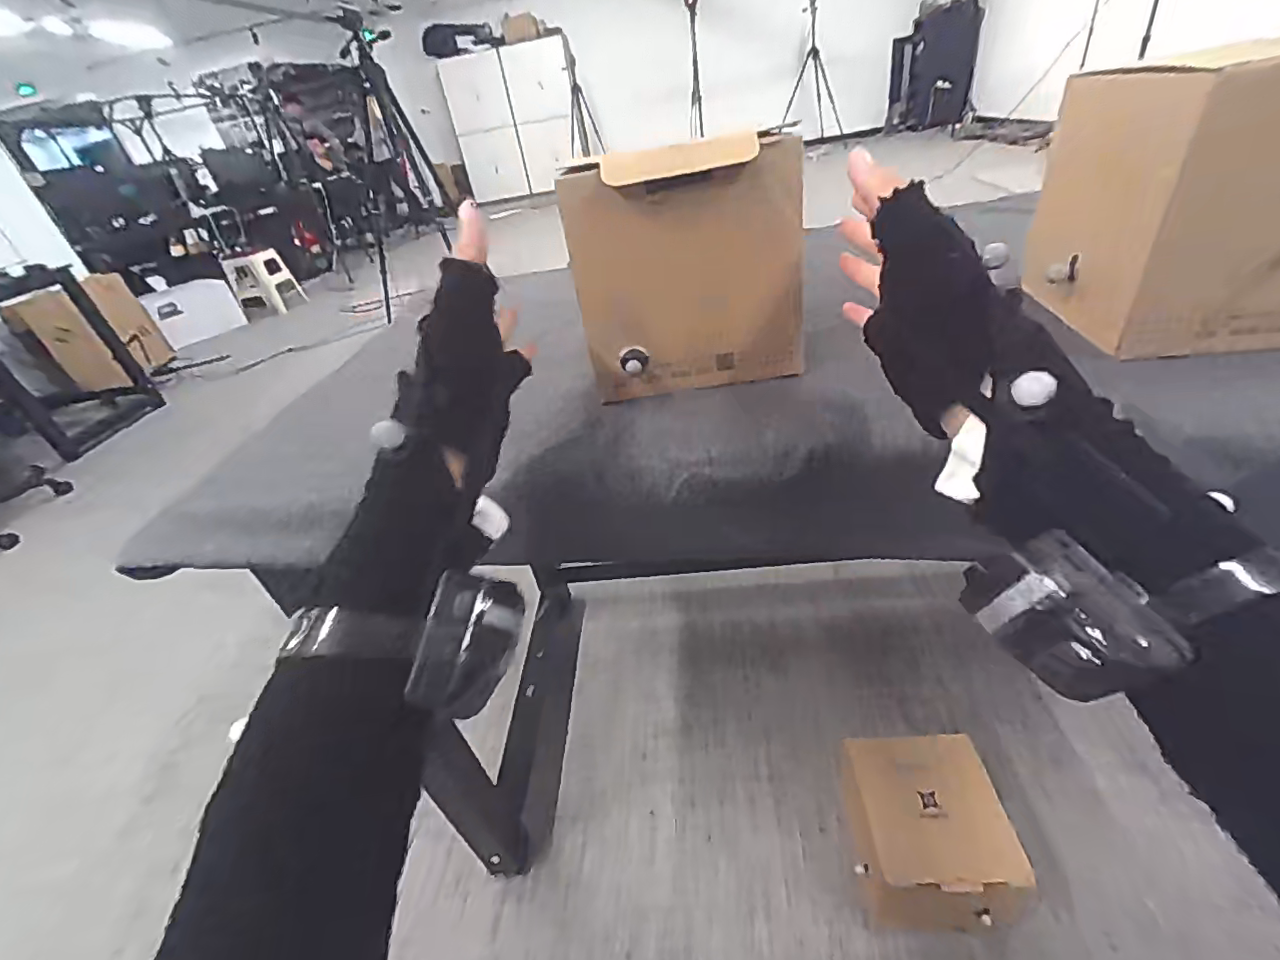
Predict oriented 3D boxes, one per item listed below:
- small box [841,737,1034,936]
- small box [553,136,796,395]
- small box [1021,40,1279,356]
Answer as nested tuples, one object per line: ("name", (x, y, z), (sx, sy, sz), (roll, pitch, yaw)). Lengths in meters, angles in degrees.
("small box", (0.375, 0.474, 0.720), (0.168, 0.176, 0.179), (-6, 33, 7))
("small box", (0.034, -0.181, 0.466), (0.168, 0.176, 0.179), (-8, 32, 4))
("small box", (0.405, -0.194, 0.379), (0.168, 0.176, 0.179), (-2, 35, 14))
